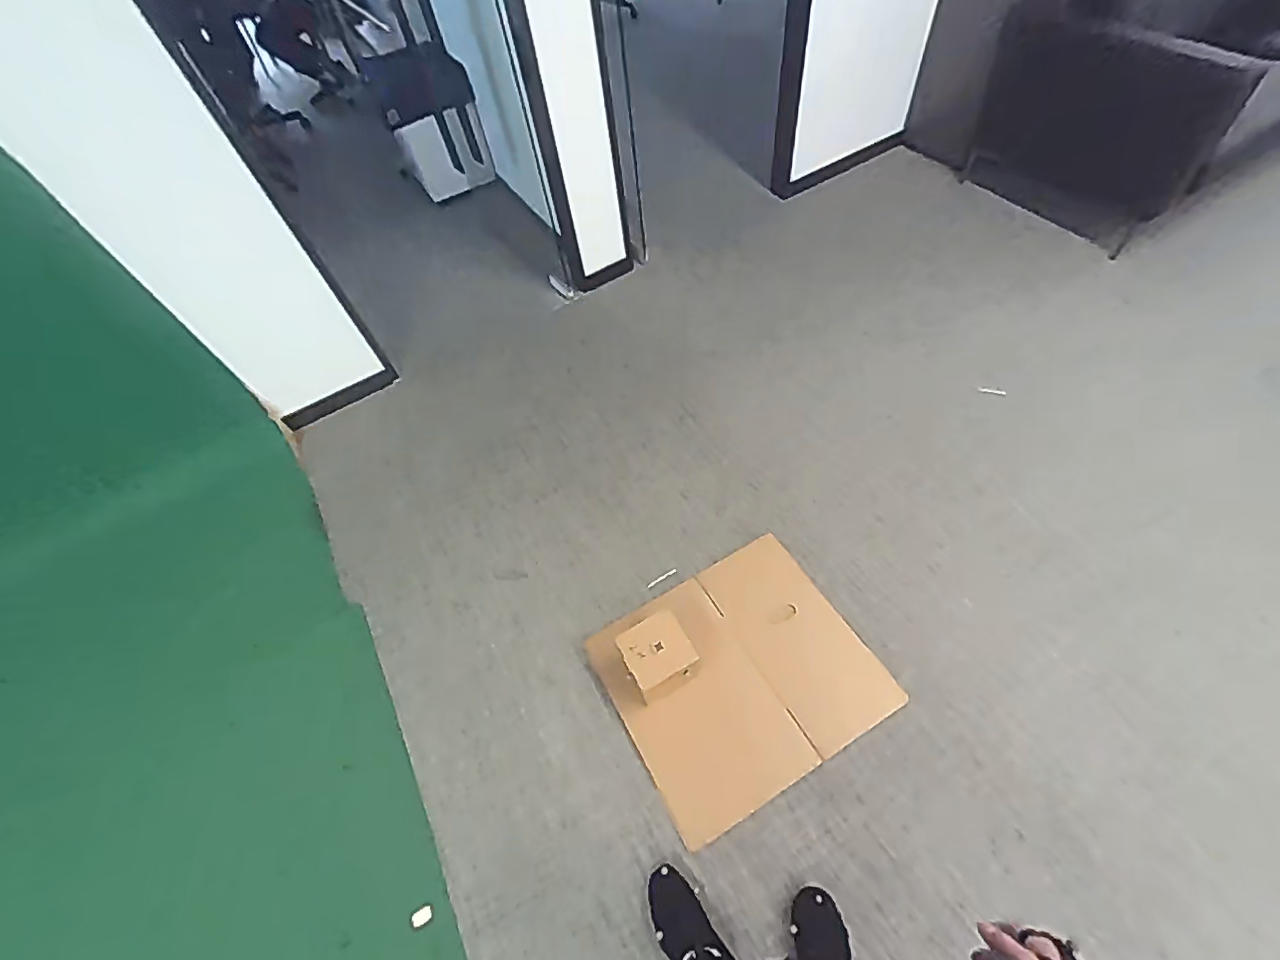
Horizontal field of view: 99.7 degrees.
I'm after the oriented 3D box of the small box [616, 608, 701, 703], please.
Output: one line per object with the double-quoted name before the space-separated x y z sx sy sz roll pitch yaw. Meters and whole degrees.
"small box" 0.053 0.487 1.493 0.179 0.176 0.168 -27 57 -10
